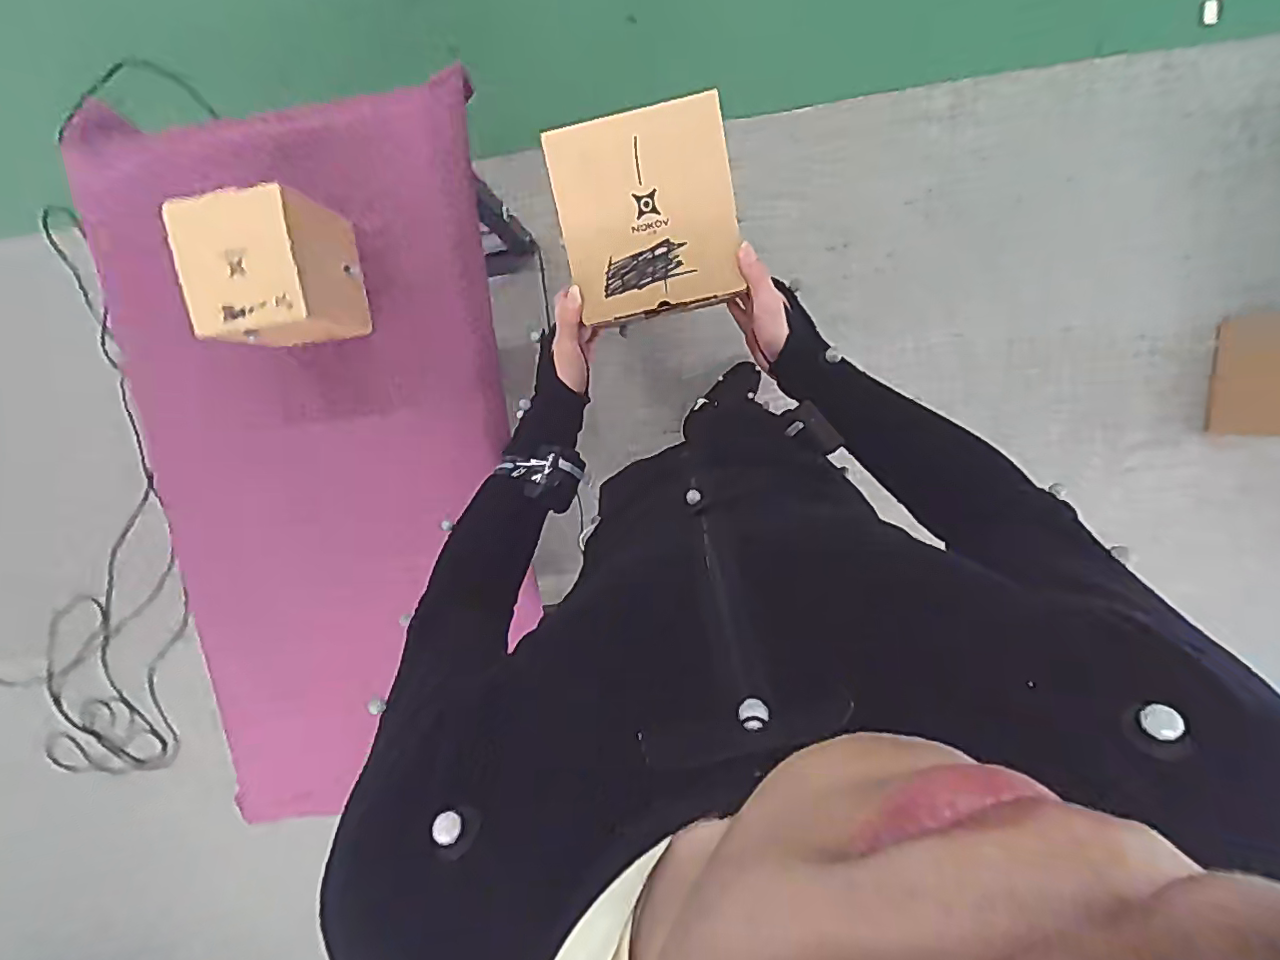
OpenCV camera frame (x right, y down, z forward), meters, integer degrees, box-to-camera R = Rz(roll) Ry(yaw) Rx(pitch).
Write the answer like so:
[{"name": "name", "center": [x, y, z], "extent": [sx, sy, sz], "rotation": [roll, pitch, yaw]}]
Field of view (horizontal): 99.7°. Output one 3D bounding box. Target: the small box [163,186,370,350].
[{"name": "small box", "center": [-0.528, -0.296, 0.790], "extent": [0.168, 0.176, 0.179], "rotation": [-7, 98, 4]}]

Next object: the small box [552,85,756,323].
[{"name": "small box", "center": [0.018, -0.269, 0.574], "extent": [0.168, 0.176, 0.179], "rotation": [-11, 104, 3]}]
